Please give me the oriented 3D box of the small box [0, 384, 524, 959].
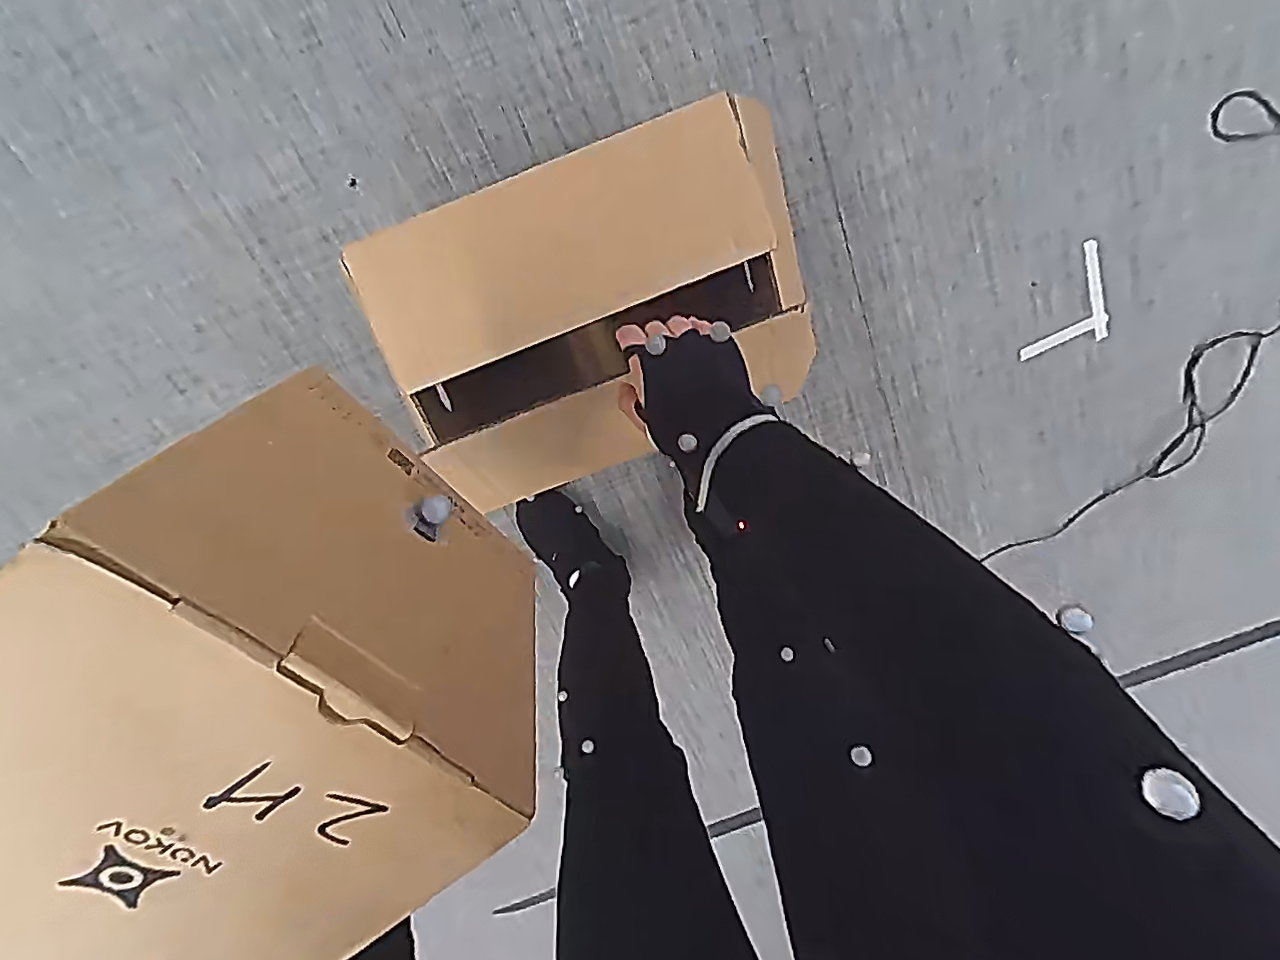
[{"bbox_3d":[-0.168,0.085,0.246,0.179,0.176,0.168,-38,116,6],"label":"small box"}]
